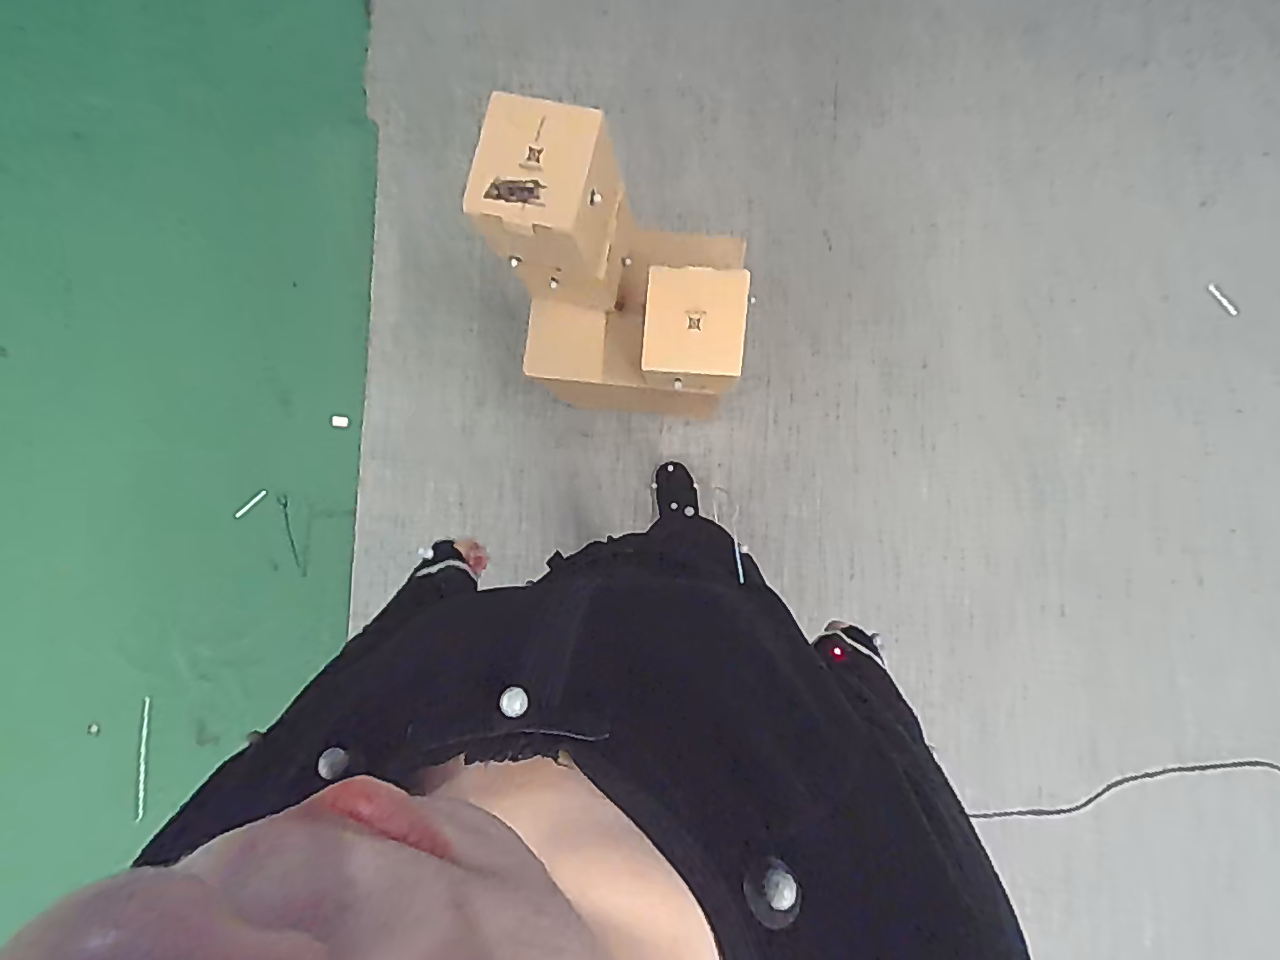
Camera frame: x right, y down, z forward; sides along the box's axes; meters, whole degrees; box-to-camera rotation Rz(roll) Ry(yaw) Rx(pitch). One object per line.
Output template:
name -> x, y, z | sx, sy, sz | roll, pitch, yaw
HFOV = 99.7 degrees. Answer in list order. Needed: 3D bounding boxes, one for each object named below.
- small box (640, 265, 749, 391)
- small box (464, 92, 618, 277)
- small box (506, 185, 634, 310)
small box -> 0.097, -0.260, 0.961 | 0.168, 0.176, 0.179 | 5, 89, 6
small box -> -0.138, -0.437, 0.826 | 0.168, 0.176, 0.179 | 15, 88, 6
small box -> -0.118, -0.428, 0.989 | 0.179, 0.176, 0.168 | 13, 90, 5
